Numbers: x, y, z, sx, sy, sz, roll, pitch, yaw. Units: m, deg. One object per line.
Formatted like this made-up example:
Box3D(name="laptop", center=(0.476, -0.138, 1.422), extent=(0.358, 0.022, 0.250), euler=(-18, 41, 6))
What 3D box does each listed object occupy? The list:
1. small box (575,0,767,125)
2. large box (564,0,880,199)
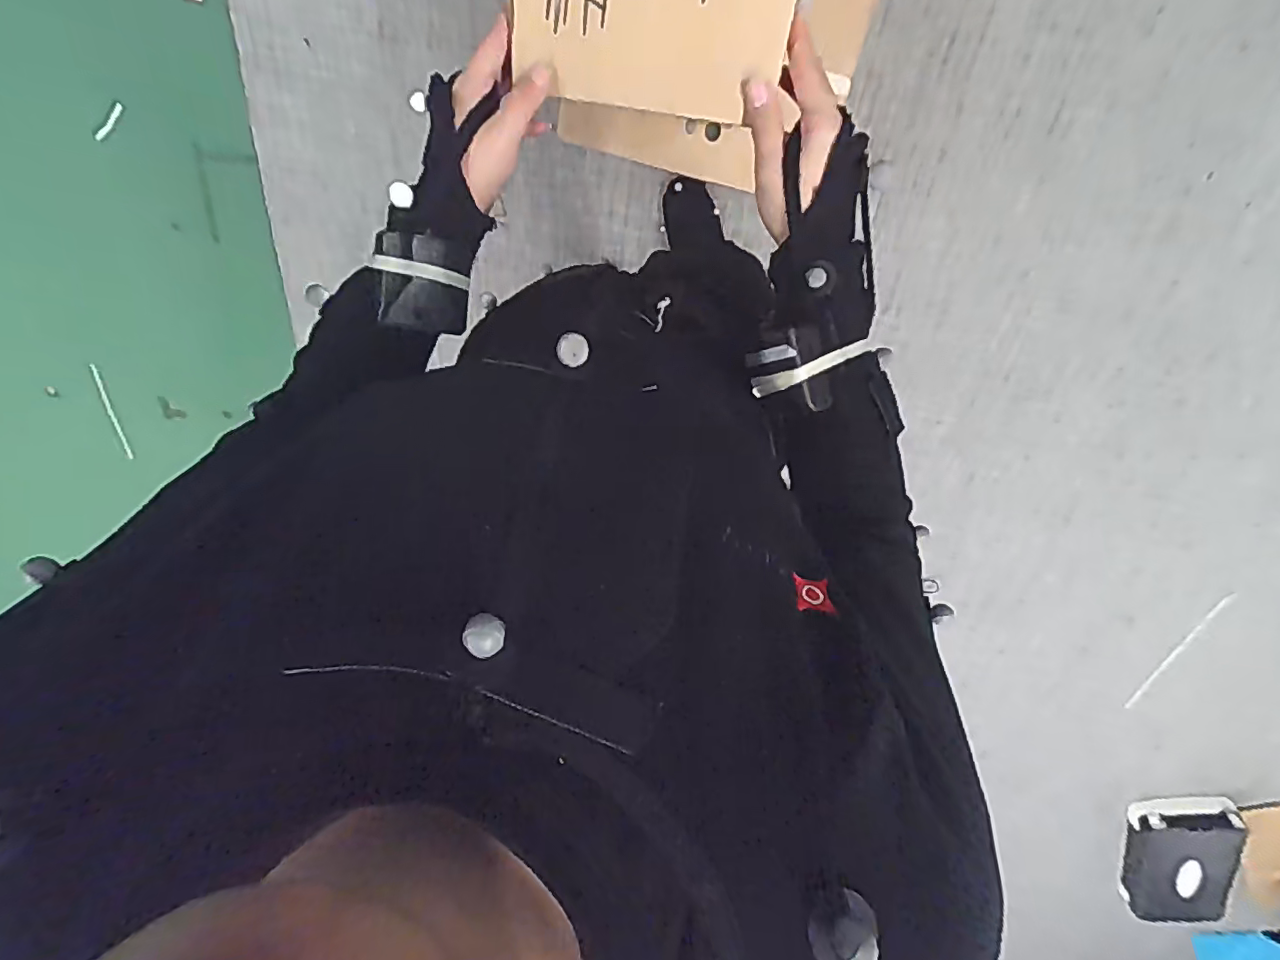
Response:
Box3D(name="small box", center=(0.041, -0.474, 0.541), extent=(0.168, 0.176, 0.179), euler=(12, 121, -1))
Box3D(name="large box", center=(0.119, -0.681, 0.881), extent=(0.408, 0.320, 0.320), euler=(14, 123, -1))
